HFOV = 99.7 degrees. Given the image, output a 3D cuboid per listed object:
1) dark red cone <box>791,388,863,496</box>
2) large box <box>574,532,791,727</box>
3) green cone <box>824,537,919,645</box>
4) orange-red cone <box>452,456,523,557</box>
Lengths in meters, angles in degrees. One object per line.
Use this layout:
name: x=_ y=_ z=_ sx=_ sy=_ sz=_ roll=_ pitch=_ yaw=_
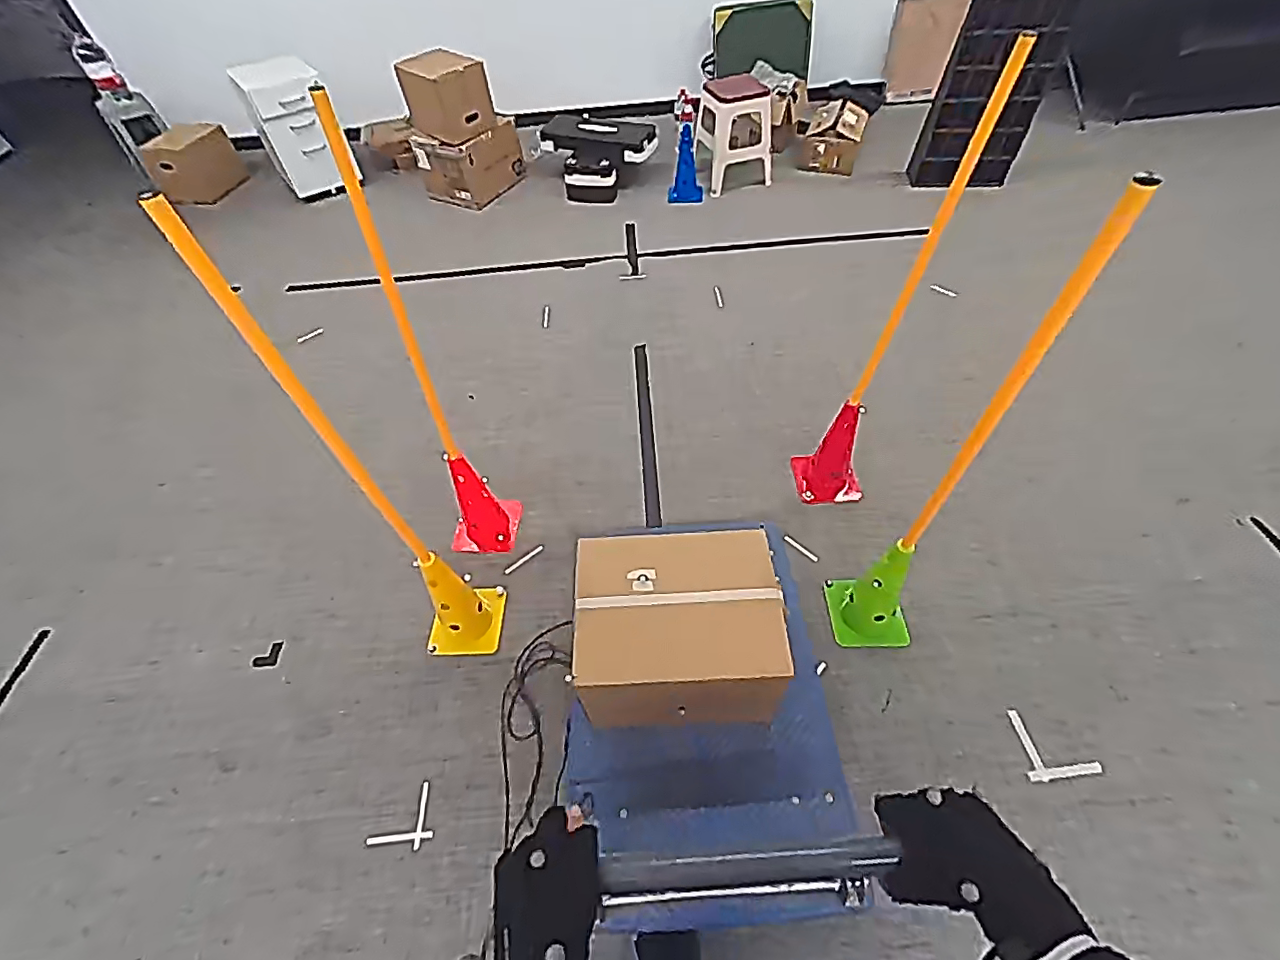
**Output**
dark red cone: x=0.616 y=-0.126 z=1.680 sx=0.201 sy=0.394 sz=0.202 roll=-4 pitch=52 yaw=-1
large box: x=0.082 y=0.338 z=1.191 sx=0.408 sy=0.320 sz=0.320 roll=-4 pitch=52 yaw=2
green cone: x=0.629 y=0.264 z=1.391 sx=0.202 sy=0.368 sz=0.200 roll=-1 pitch=51 yaw=2
orange-red cone: x=-0.503 y=0.056 z=1.646 sx=0.198 sy=0.360 sz=0.199 roll=1 pitch=50 yaw=4
